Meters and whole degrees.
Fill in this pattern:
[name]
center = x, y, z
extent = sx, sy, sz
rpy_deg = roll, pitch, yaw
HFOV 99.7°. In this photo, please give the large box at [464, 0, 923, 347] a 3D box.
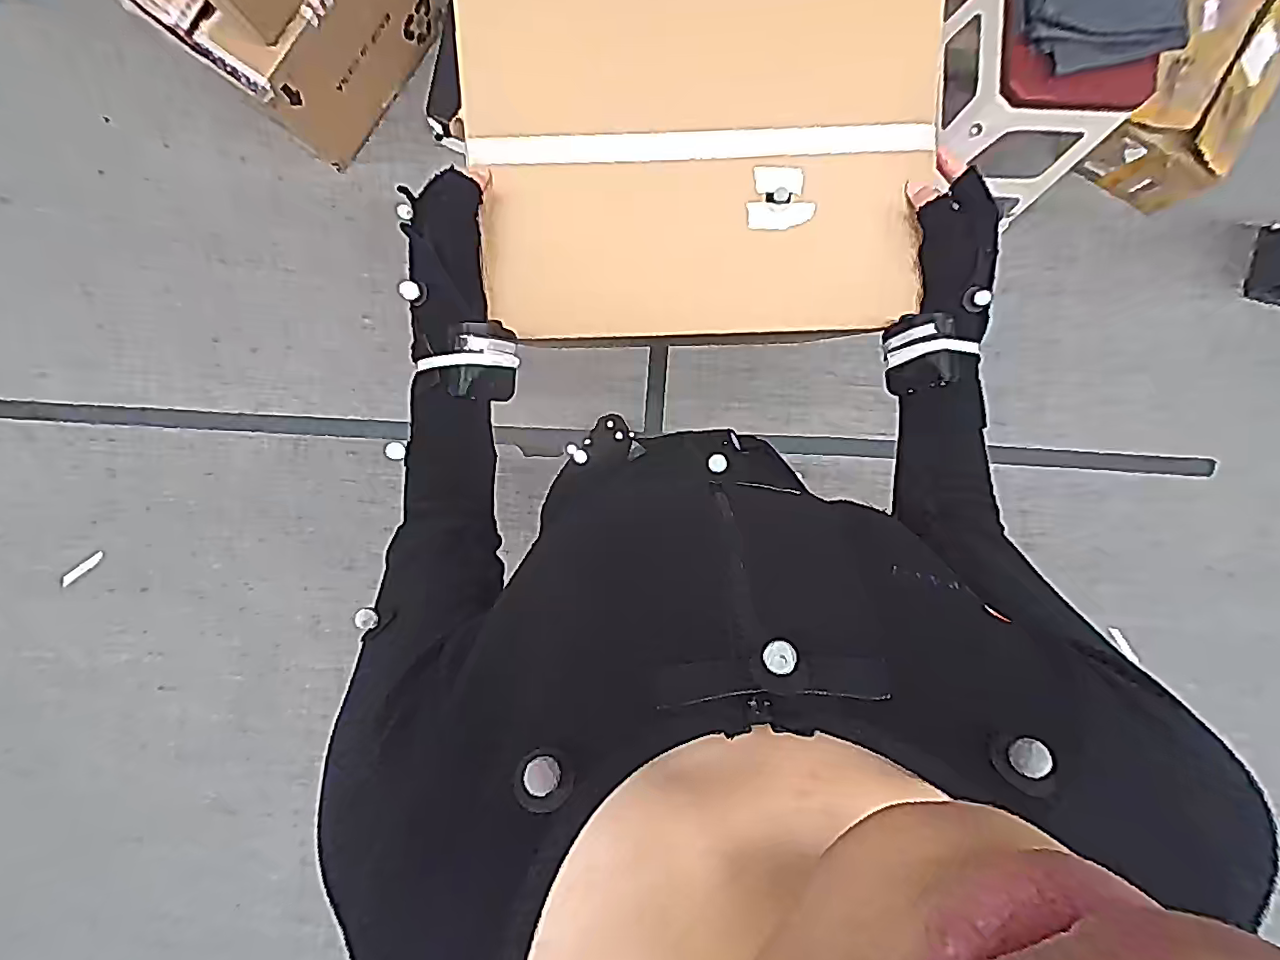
[large box]
center = 0.048, -0.330, 0.634
extent = 0.408, 0.320, 0.320
rpy_deg = -2, 103, -1
